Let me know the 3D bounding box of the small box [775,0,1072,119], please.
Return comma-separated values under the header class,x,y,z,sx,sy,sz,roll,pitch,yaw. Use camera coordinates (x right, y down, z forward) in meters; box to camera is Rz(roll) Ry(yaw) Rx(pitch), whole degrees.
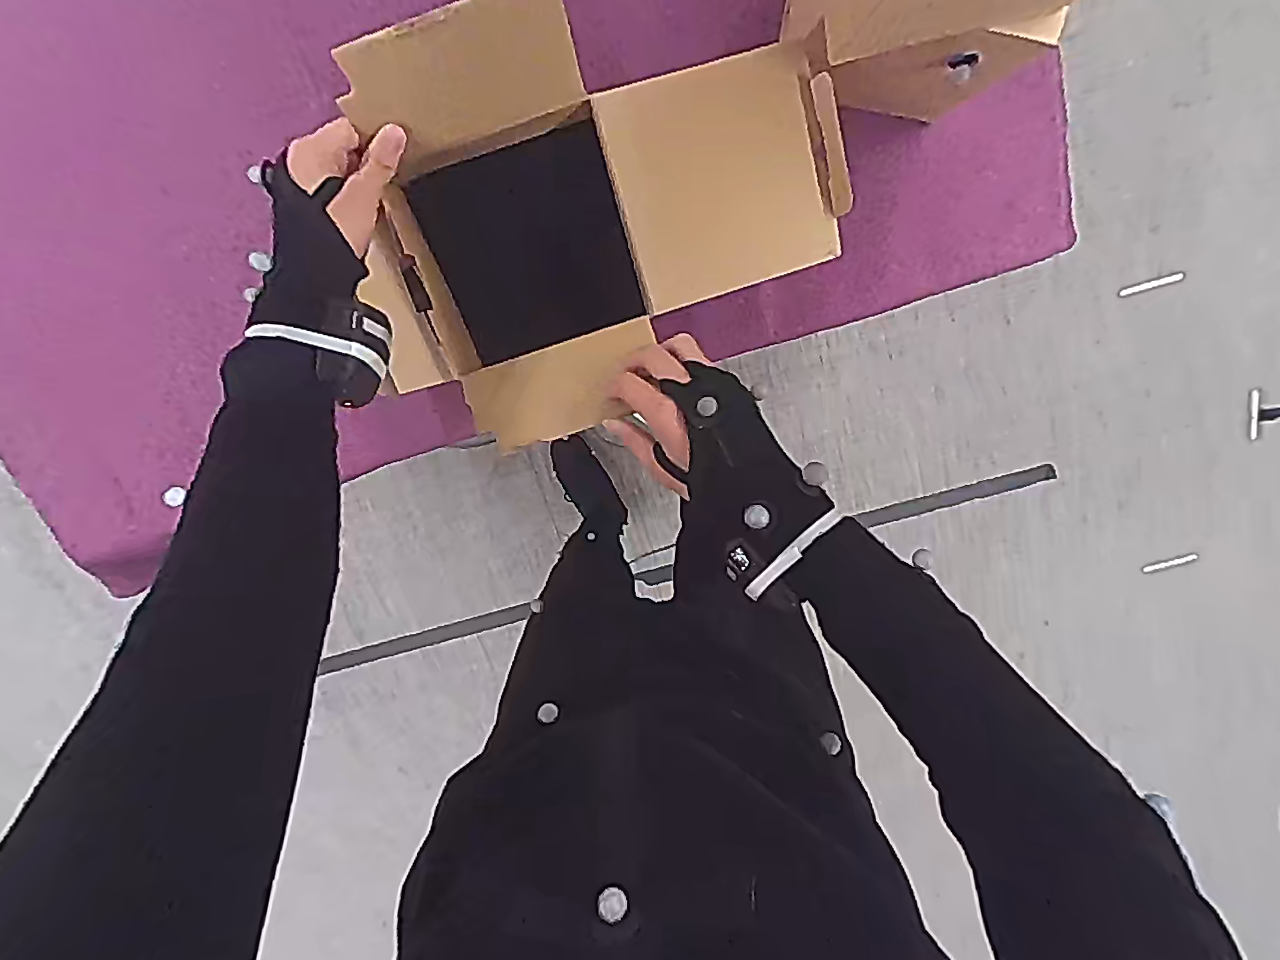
class,x,y,z,sx,sy,sz,roll,pitch,yaw
small box,0.232,-0.426,0.445,0.179,0.176,0.168,8,106,-4
